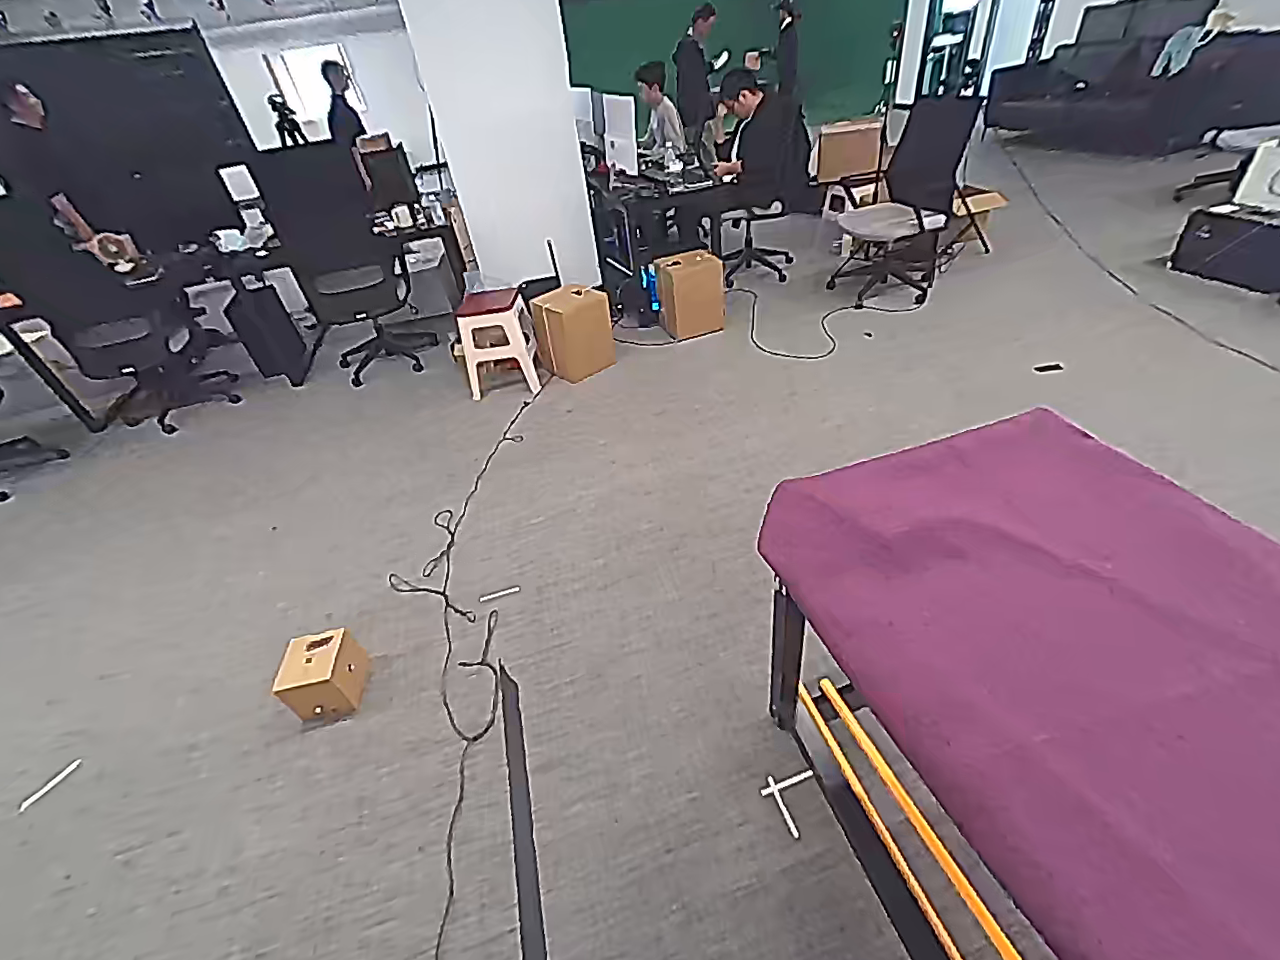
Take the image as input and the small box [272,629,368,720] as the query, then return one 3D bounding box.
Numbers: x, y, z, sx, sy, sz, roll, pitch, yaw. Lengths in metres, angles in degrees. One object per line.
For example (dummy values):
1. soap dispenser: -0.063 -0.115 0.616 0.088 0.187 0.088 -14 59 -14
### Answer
1. small box: -0.936 0.576 1.602 0.168 0.176 0.179 -12 40 -2
